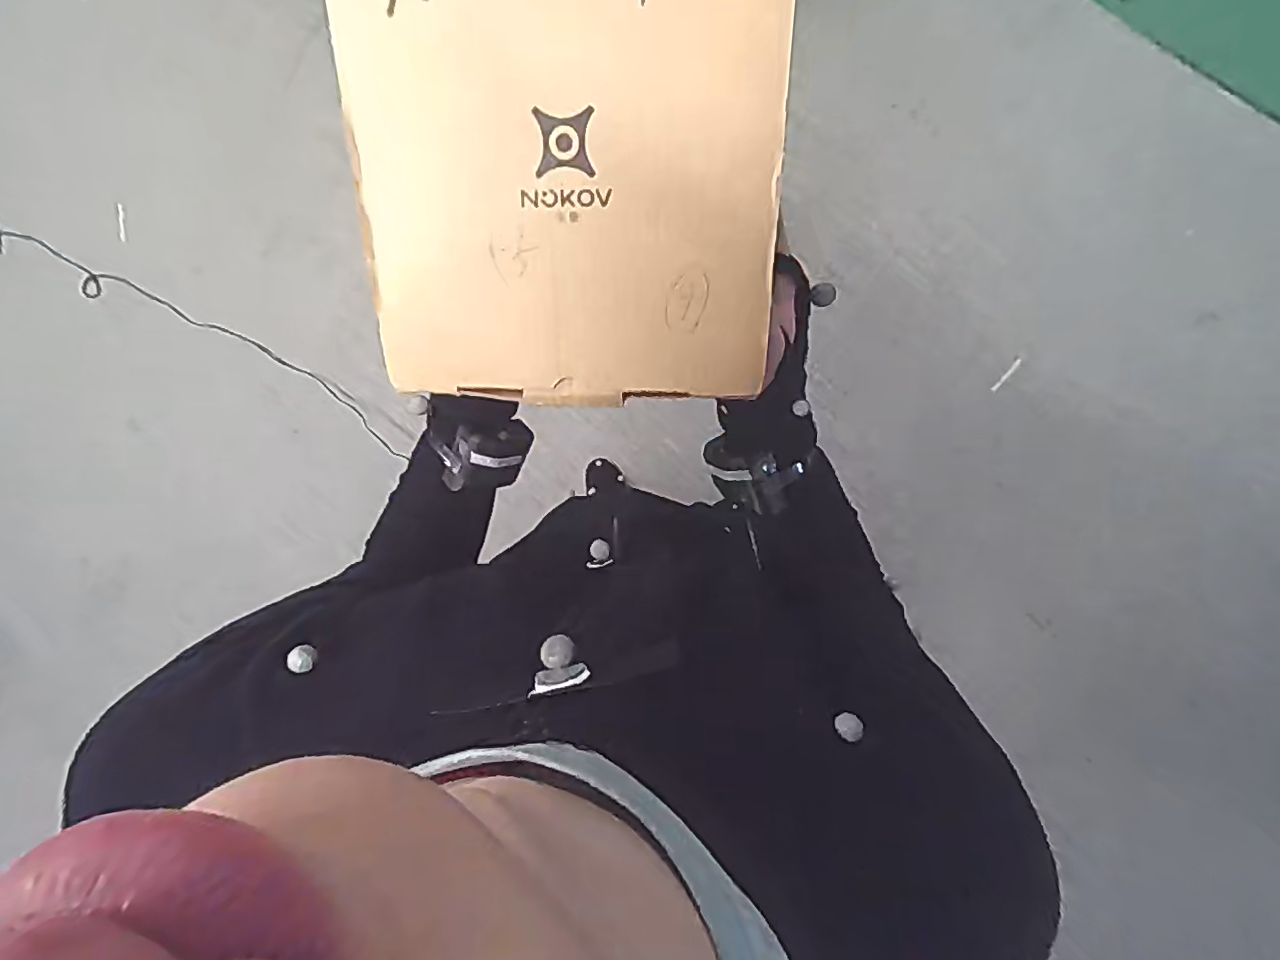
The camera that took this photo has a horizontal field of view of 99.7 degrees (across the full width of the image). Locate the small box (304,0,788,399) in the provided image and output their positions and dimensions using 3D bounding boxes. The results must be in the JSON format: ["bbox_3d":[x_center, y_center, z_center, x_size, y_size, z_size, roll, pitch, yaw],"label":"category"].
[{"bbox_3d":[-0.029,-0.147,0.273,0.168,0.176,0.179,0,112,1],"label":"small box"}]
